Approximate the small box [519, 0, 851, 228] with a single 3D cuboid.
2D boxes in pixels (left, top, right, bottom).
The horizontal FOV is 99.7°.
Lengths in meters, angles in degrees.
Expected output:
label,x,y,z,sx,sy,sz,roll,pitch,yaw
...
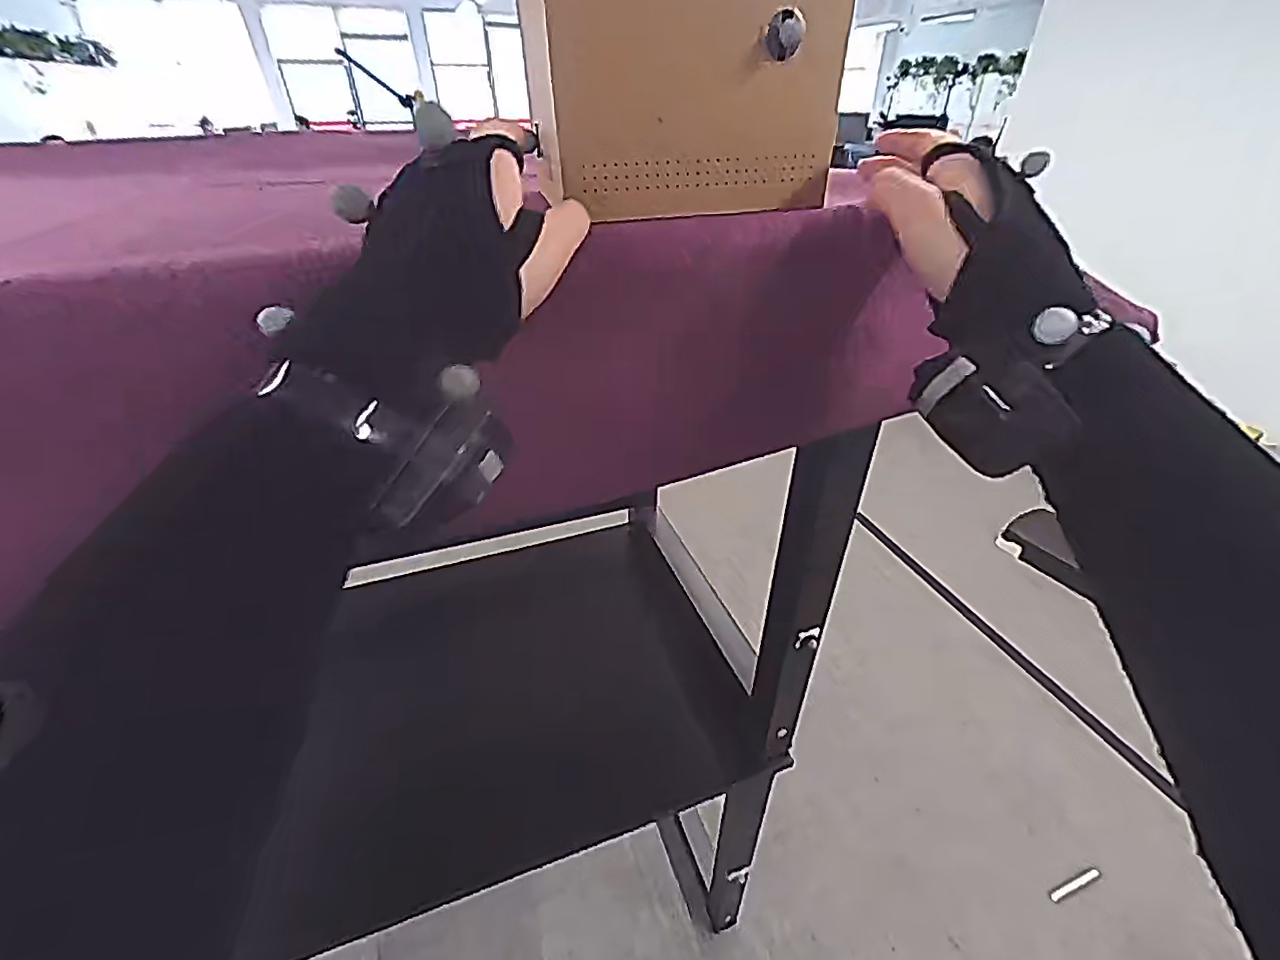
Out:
label,x,y,z,sx,sy,sz,roll,pitch,yaw
small box,0.017,-0.273,0.355,0.179,0.176,0.168,-10,35,-11
